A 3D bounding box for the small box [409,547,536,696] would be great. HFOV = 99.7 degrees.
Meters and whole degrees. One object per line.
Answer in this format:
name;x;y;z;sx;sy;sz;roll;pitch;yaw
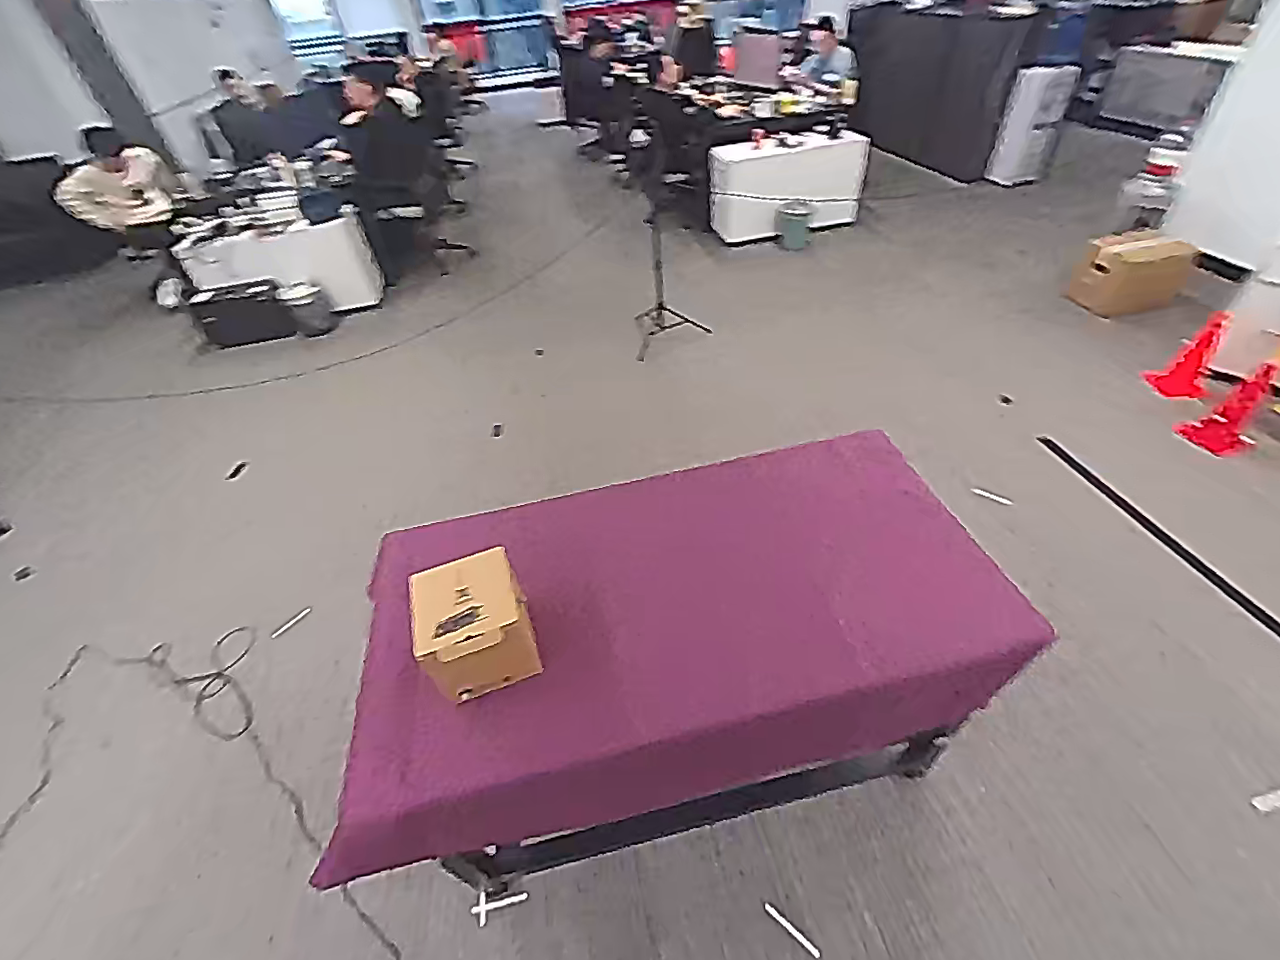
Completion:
small box;-0.294;0.256;0.959;0.168;0.176;0.179;-18;43;-12
